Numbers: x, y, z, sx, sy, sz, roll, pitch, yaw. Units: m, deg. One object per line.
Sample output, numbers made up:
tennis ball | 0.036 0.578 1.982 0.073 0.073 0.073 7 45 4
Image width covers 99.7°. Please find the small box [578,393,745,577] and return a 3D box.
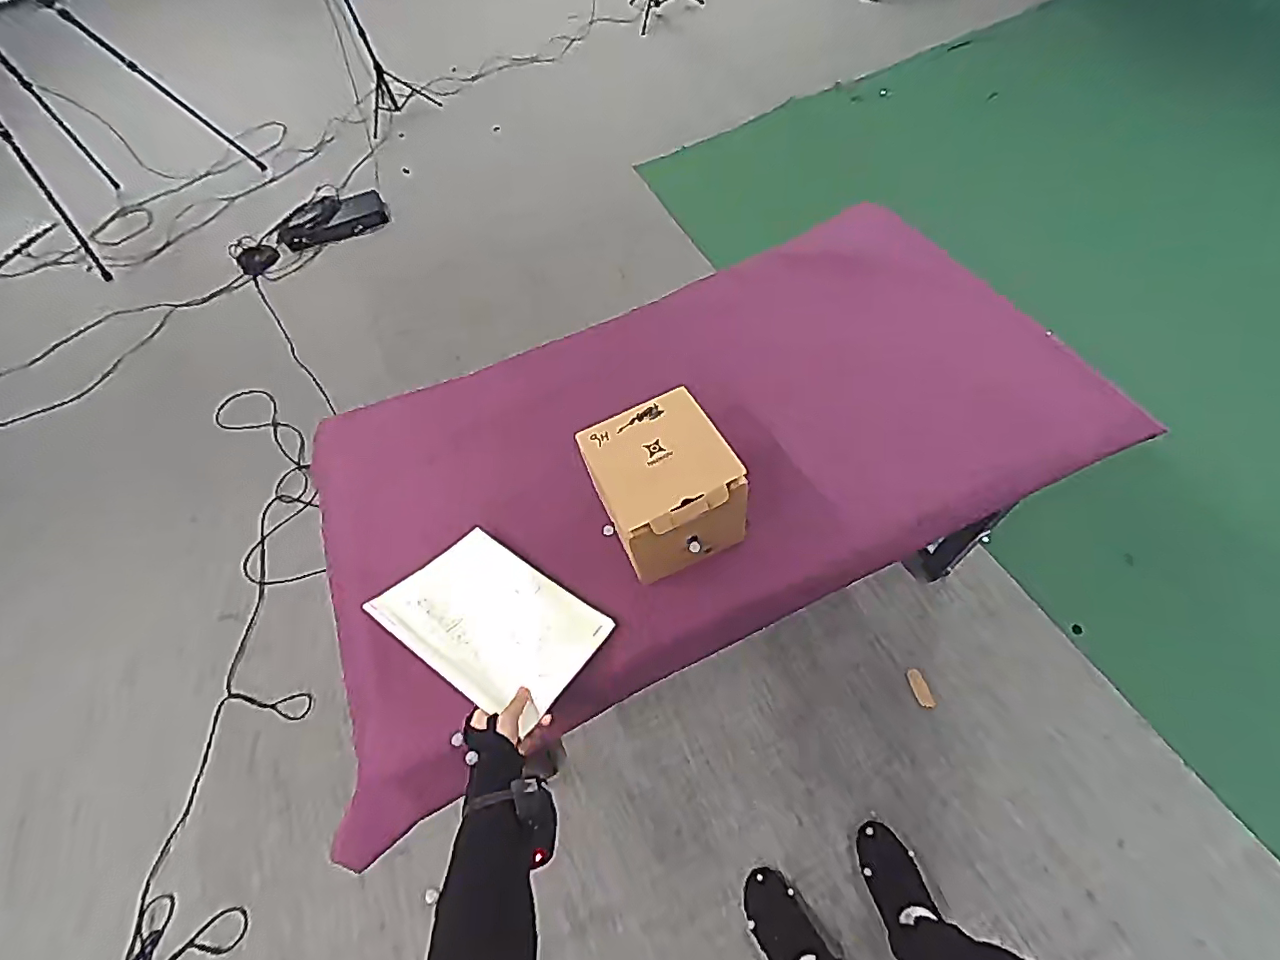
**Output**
small box | 0.034 0.018 0.758 0.168 0.176 0.179 -25 59 -6
